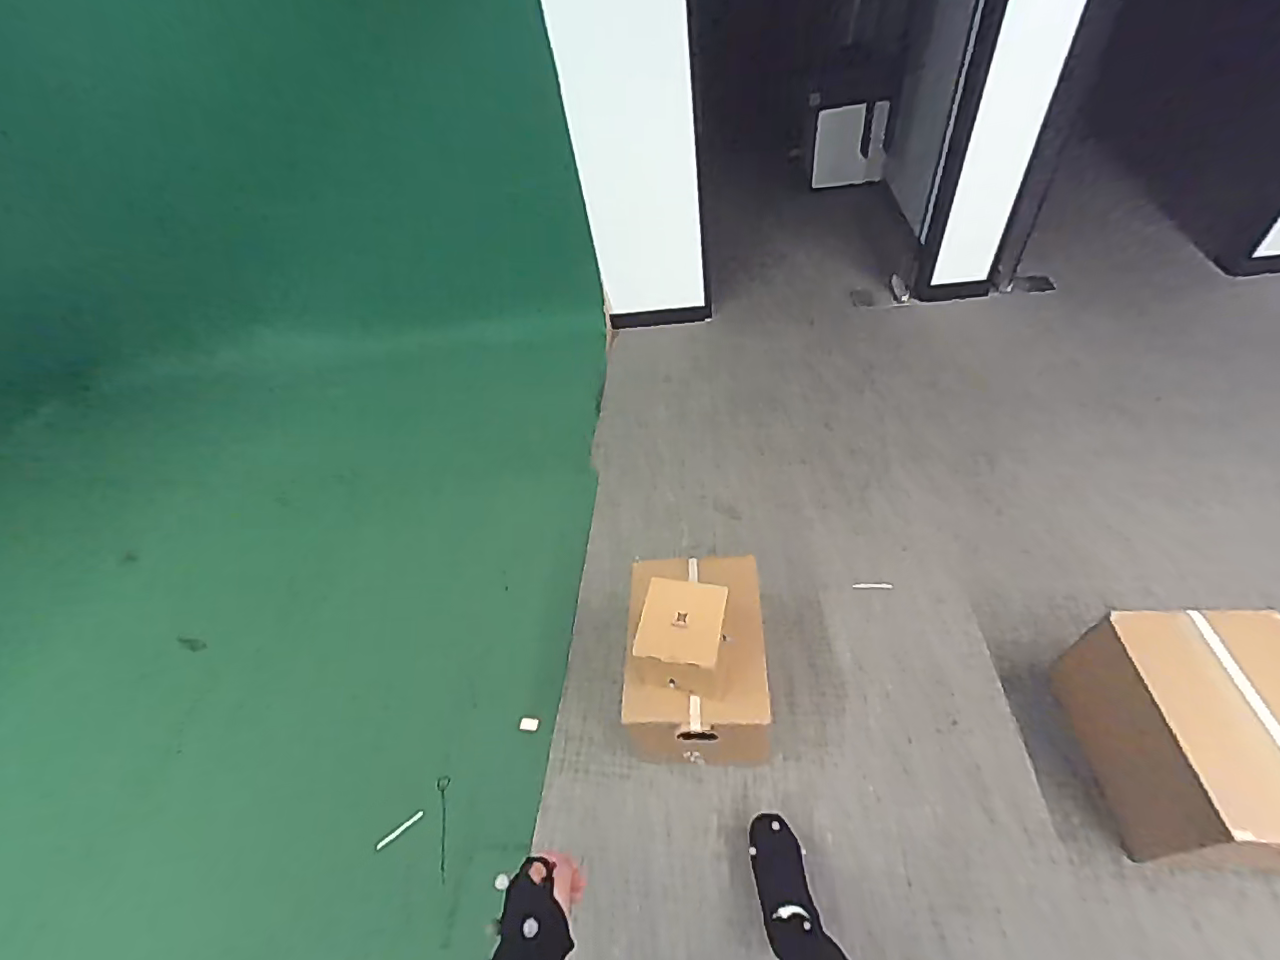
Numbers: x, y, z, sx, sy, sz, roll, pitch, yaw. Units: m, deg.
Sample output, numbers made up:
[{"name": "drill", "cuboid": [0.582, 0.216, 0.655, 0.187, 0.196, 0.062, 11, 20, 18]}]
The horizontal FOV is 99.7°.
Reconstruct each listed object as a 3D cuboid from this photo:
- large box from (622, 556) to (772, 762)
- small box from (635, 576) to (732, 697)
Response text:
[{"name": "large box", "cuboid": [0.147, 0.446, 1.348, 0.320, 0.320, 0.408, -3, 48, 9]}, {"name": "small box", "cuboid": [0.100, 0.328, 1.134, 0.168, 0.176, 0.179, 4, 51, 17]}]
